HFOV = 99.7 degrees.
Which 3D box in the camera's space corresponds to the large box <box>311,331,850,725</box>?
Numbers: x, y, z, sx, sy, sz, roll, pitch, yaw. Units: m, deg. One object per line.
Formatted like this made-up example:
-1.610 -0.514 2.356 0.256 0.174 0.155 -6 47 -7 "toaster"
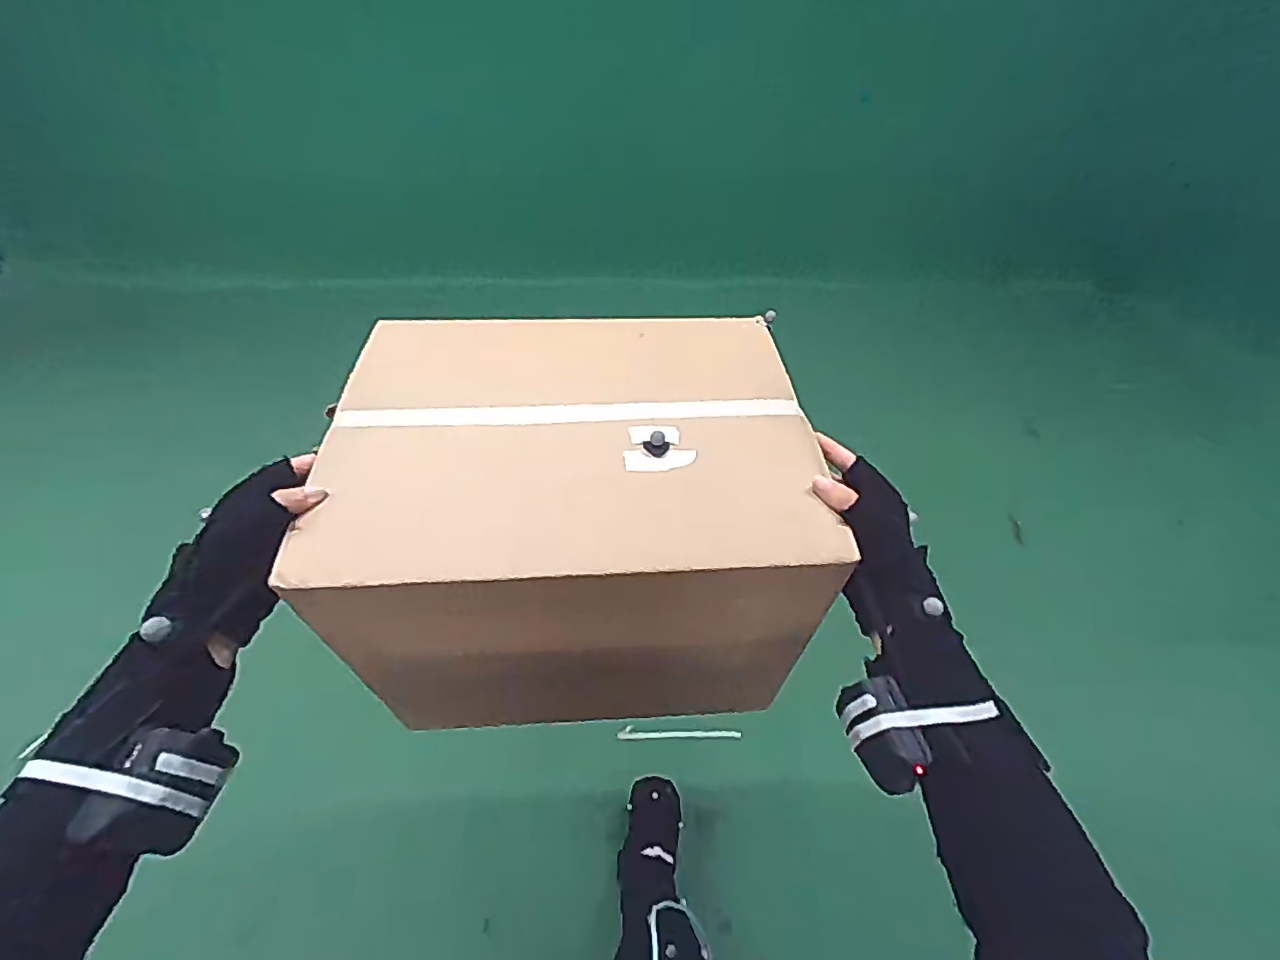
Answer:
-0.056 0.052 0.601 0.408 0.320 0.320 -2 49 -5 "large box"
